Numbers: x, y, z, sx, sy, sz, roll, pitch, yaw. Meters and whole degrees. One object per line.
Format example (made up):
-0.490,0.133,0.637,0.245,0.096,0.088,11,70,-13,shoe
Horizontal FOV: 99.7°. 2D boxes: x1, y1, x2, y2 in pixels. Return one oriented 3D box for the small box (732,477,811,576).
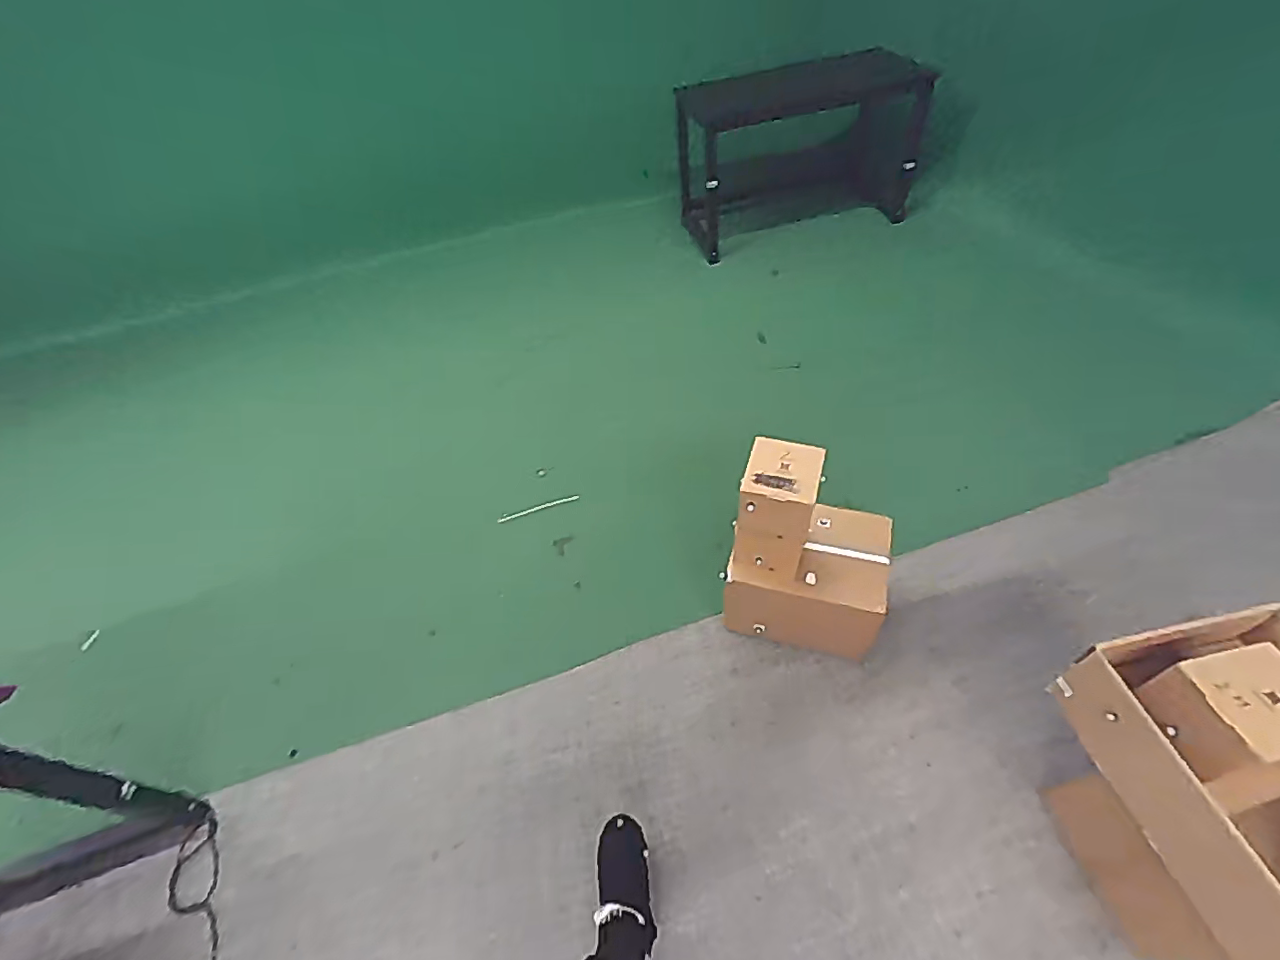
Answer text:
0.343,0.123,1.426,0.168,0.176,0.179,12,54,16,small box
